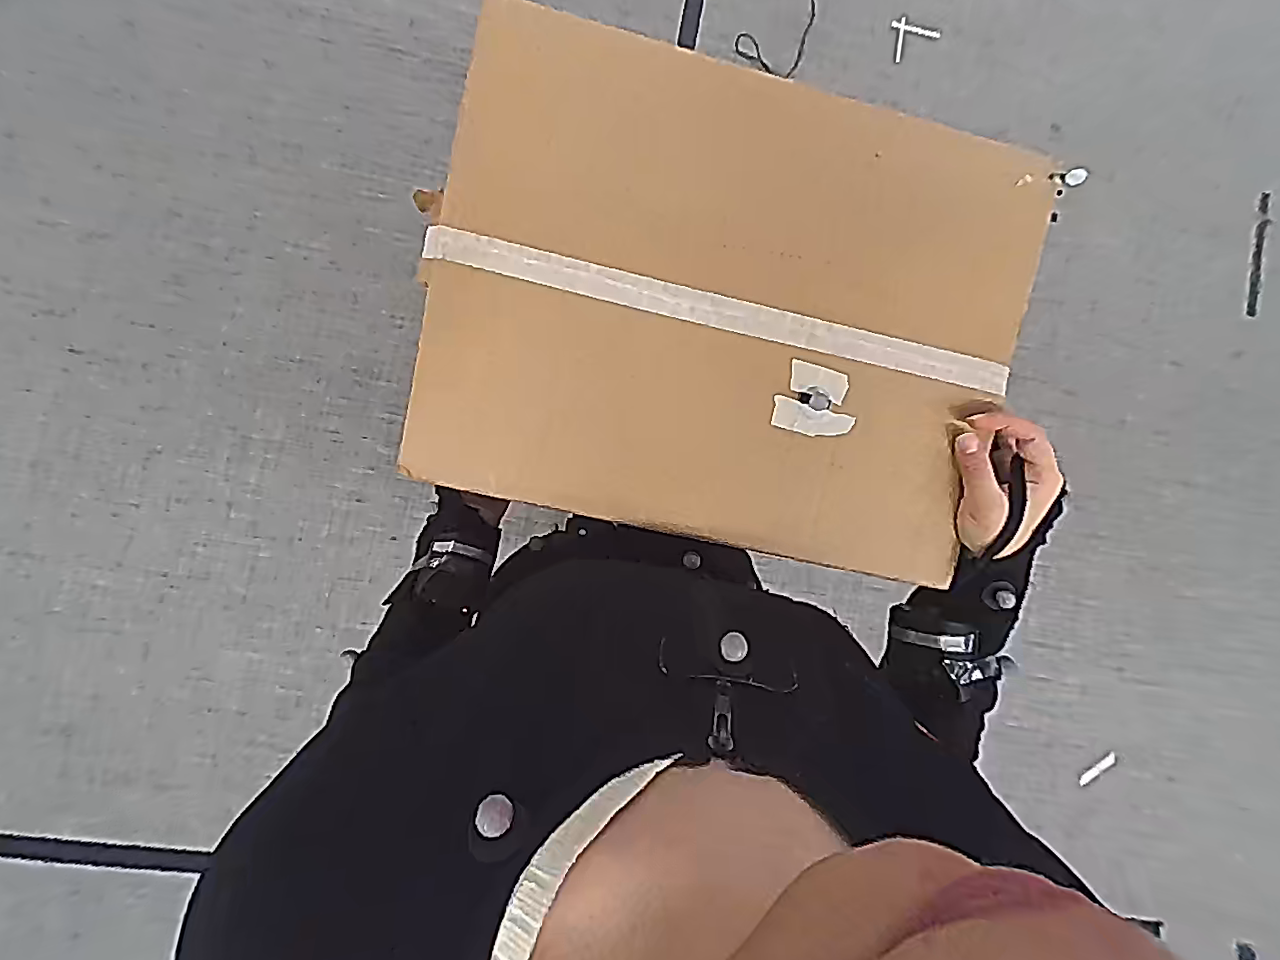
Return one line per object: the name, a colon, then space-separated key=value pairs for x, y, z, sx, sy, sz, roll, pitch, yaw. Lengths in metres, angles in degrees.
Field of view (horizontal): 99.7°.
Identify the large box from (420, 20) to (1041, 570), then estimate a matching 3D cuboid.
large box: x=0.054 y=-0.129 z=0.527 sx=0.408 sy=0.320 sz=0.320 roll=12 pitch=96 yaw=-7
